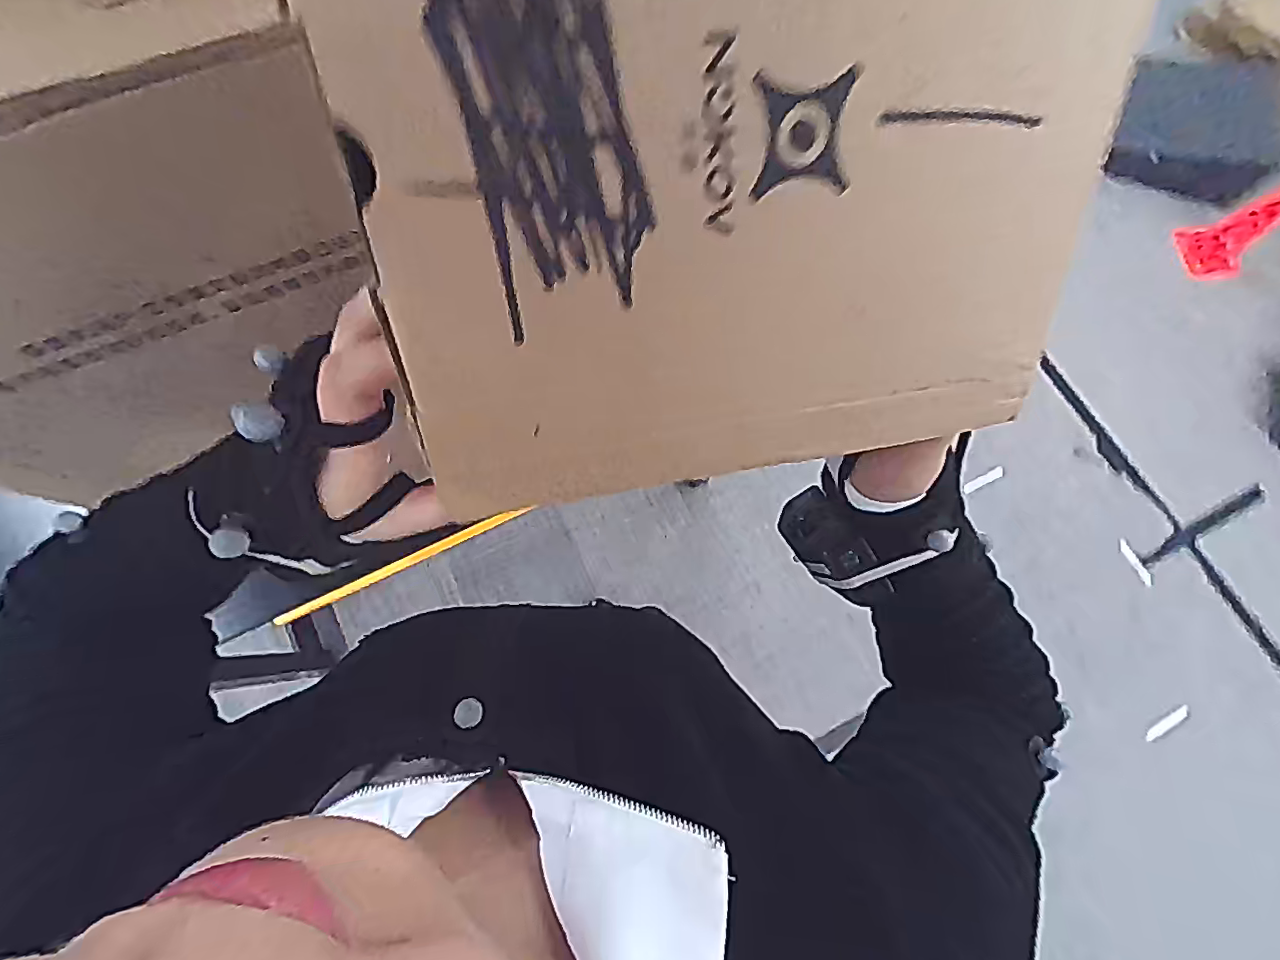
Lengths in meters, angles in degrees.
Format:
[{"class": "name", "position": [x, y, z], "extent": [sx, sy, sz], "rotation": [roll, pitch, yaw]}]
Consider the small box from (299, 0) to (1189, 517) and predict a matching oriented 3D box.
[{"class": "small box", "position": [0.017, -0.110, 0.181], "extent": [0.179, 0.168, 0.176], "rotation": [-9, 32, -7]}]
